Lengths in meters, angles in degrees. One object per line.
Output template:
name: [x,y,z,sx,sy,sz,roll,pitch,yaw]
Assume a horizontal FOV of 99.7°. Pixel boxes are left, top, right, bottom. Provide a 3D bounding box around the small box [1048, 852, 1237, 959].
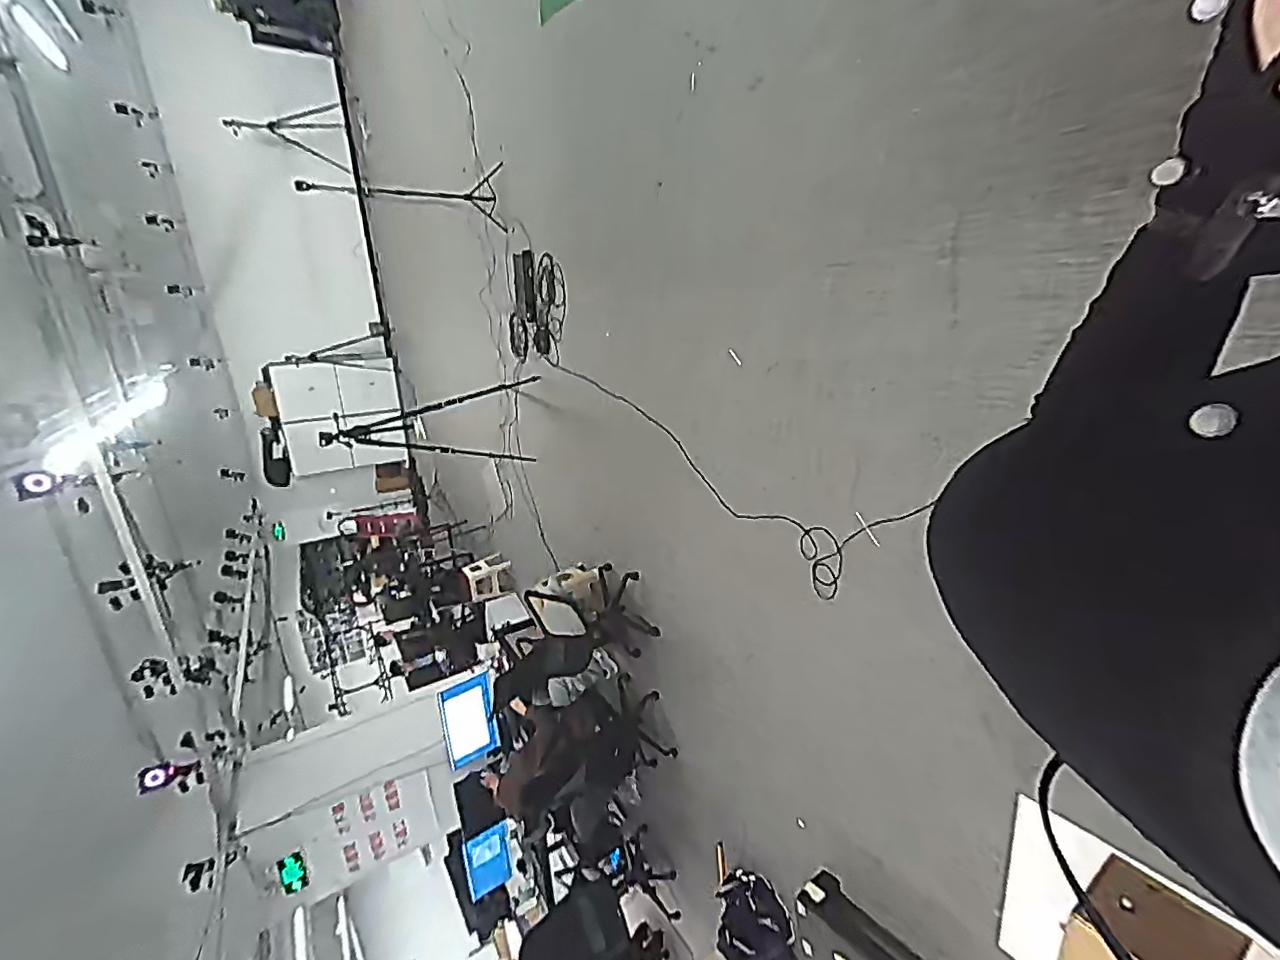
small box: [0.768,0.734,0.835,0.168,0.176,0.179,23,123,55]
